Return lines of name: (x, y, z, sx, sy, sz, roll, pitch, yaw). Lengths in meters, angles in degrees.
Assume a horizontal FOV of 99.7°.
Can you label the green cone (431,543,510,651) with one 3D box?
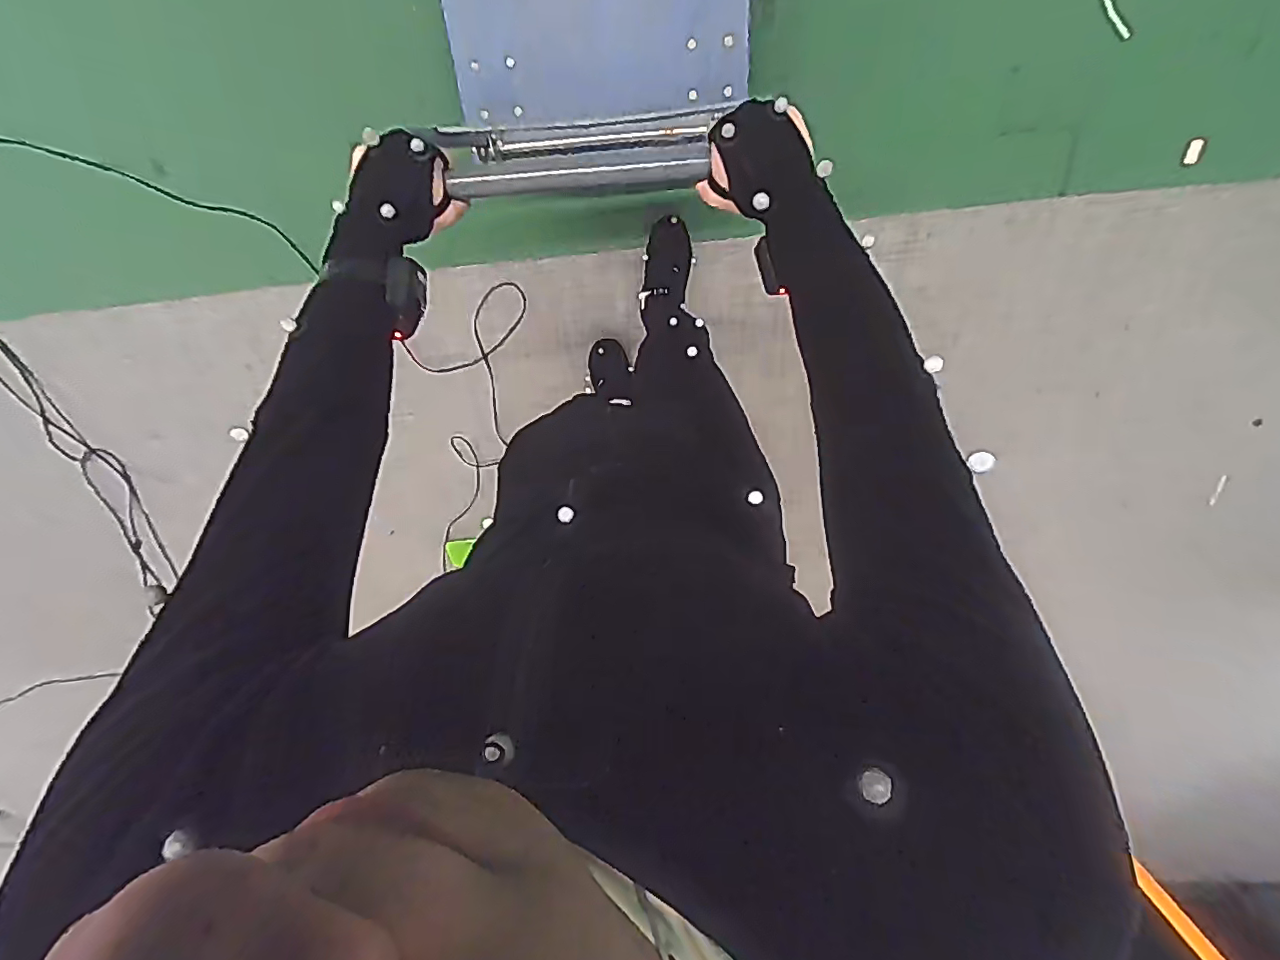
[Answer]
green cone: (-0.570, 0.386, 1.708, 0.202, 0.368, 0.200, -7, 119, 7)
